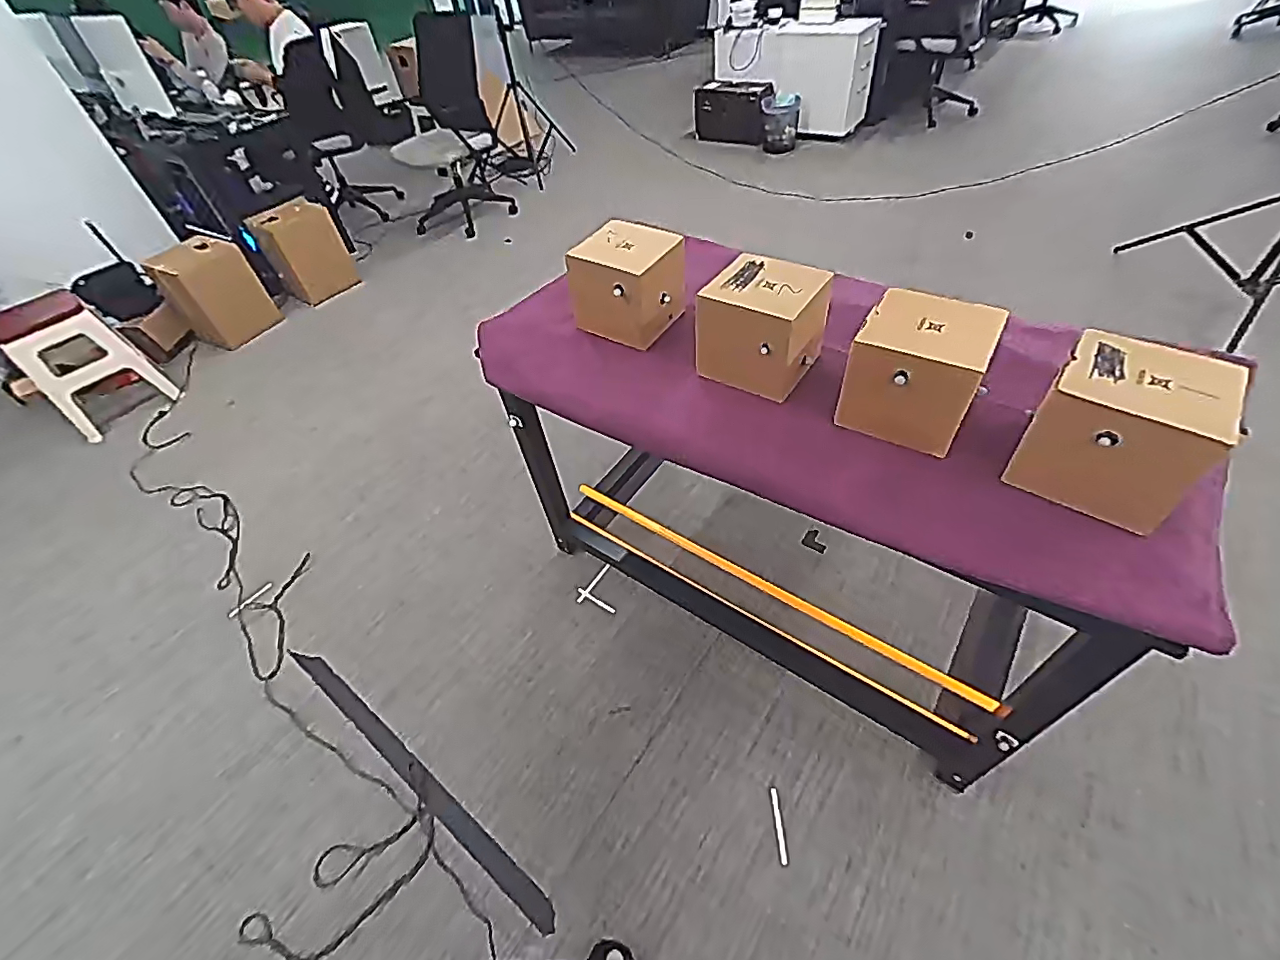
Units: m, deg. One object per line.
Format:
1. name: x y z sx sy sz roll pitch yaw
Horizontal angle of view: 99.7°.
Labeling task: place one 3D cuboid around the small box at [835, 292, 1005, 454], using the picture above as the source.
1. small box: 0.430 -0.165 0.850 0.179 0.176 0.168 23 55 26

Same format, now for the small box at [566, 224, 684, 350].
1. small box: -0.023 -0.392 1.109 0.179 0.176 0.168 25 55 24

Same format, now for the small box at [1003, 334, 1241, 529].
1. small box: 0.629 -0.064 0.725 0.179 0.176 0.168 29 56 29
